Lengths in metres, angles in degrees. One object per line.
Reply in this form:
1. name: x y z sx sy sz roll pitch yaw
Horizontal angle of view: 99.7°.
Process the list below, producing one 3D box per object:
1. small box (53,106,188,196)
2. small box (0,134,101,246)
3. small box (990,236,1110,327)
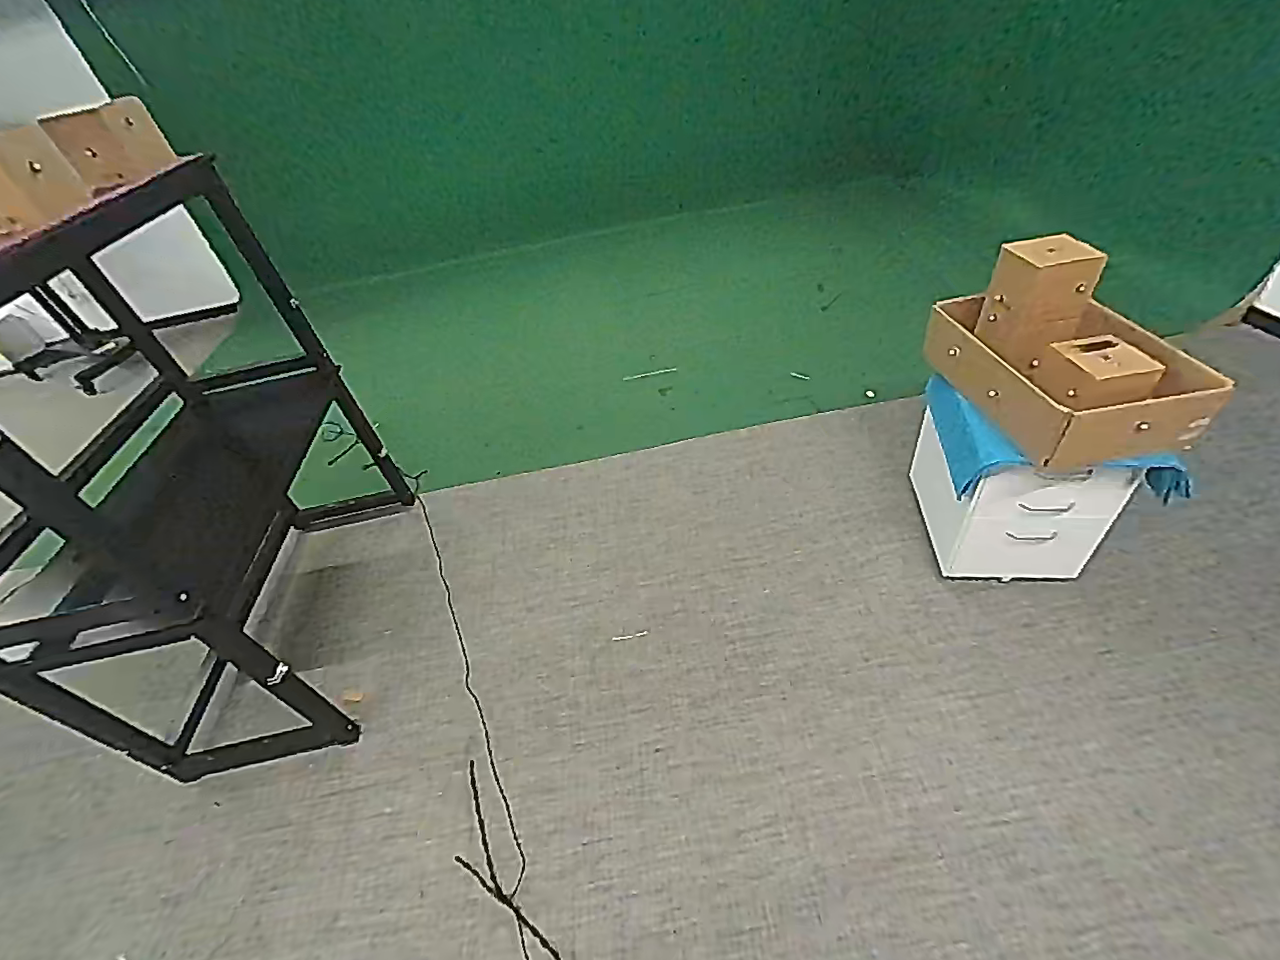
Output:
1. small box: -1.411 -0.900 1.487 0.168 0.176 0.179 -8 43 3
2. small box: -1.371 -0.640 1.198 0.168 0.176 0.179 -13 43 2
3. small box: 1.098 -0.537 1.466 0.179 0.176 0.168 -10 42 1
